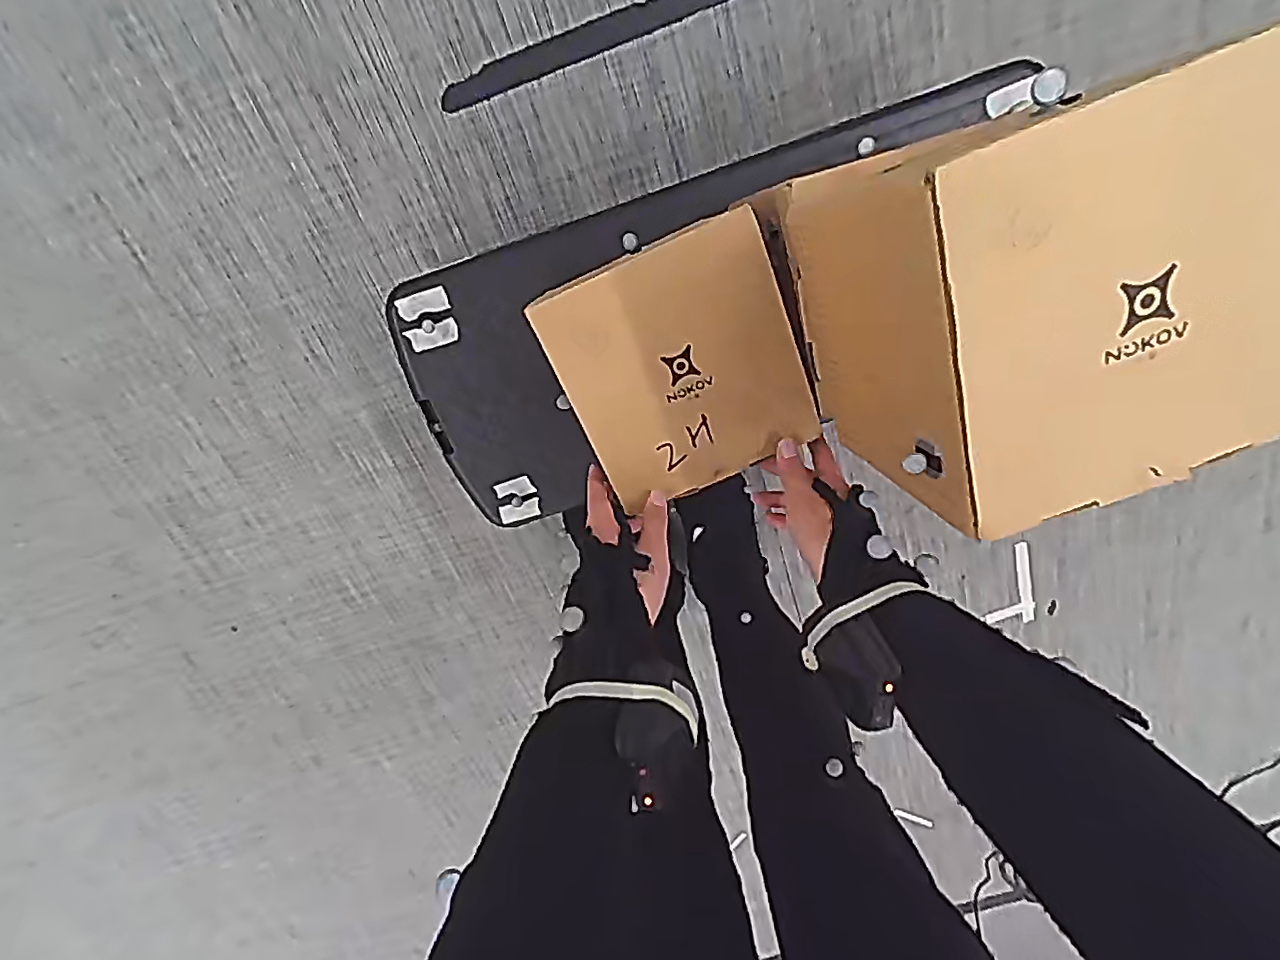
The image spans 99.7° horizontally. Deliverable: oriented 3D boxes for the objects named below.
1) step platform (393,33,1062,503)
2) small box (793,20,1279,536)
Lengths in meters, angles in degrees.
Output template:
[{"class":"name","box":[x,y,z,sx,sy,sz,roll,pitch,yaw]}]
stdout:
[{"class":"step platform","box":[0.095,-0.214,0.616,0.684,0.204,0.286,-18,112,4]},{"class":"small box","box":[0.205,-0.103,0.307,0.168,0.176,0.179,-21,113,3]}]
